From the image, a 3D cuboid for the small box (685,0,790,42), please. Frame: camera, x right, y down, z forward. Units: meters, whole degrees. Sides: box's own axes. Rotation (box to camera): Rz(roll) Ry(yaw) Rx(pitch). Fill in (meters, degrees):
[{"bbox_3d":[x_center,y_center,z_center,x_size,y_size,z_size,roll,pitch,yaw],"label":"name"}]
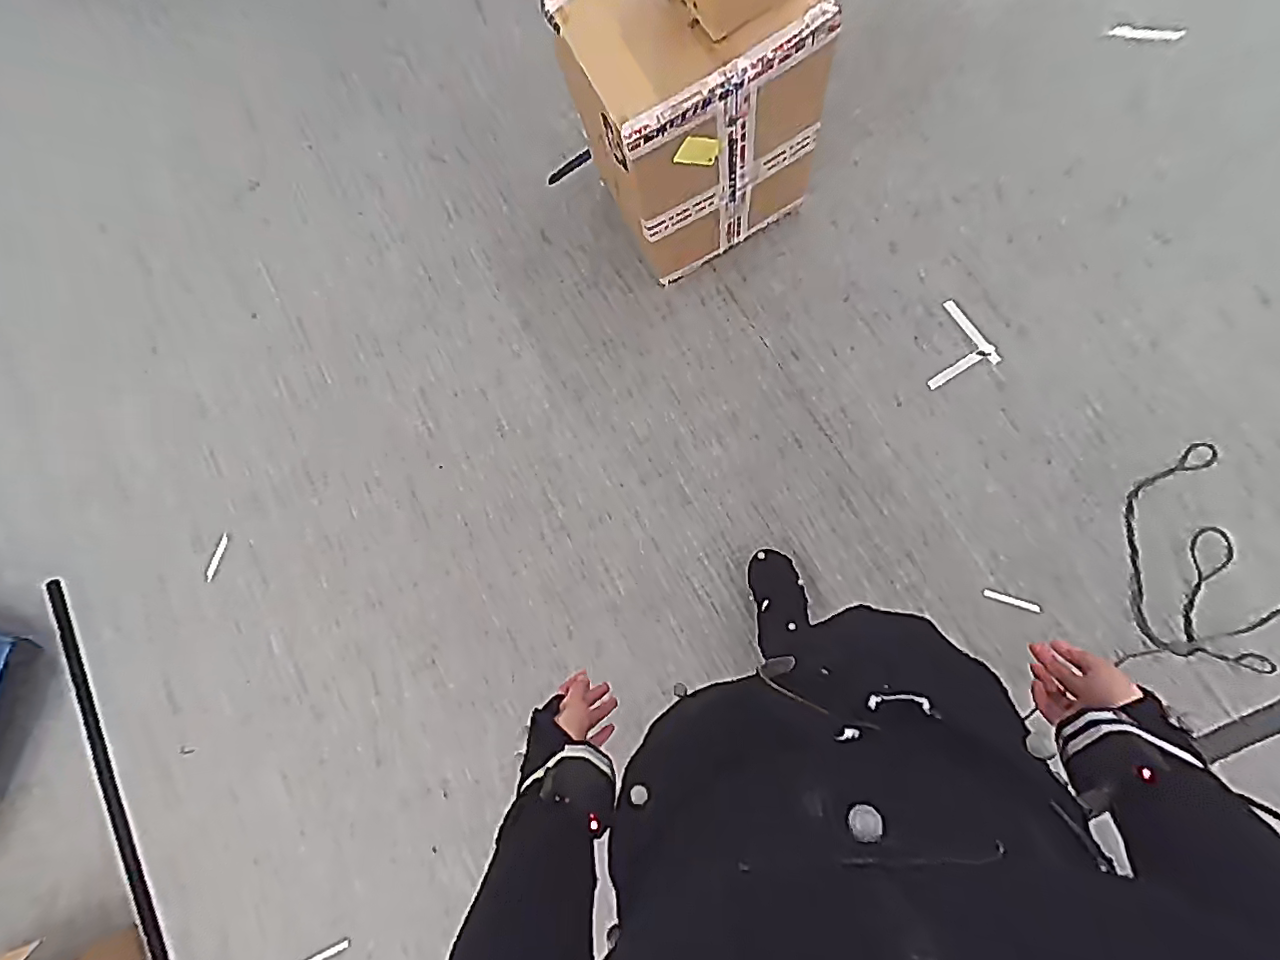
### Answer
[{"bbox_3d":[0.143,-0.814,0.800,0.179,0.176,0.168,-31,80,2],"label":"small box"}]
